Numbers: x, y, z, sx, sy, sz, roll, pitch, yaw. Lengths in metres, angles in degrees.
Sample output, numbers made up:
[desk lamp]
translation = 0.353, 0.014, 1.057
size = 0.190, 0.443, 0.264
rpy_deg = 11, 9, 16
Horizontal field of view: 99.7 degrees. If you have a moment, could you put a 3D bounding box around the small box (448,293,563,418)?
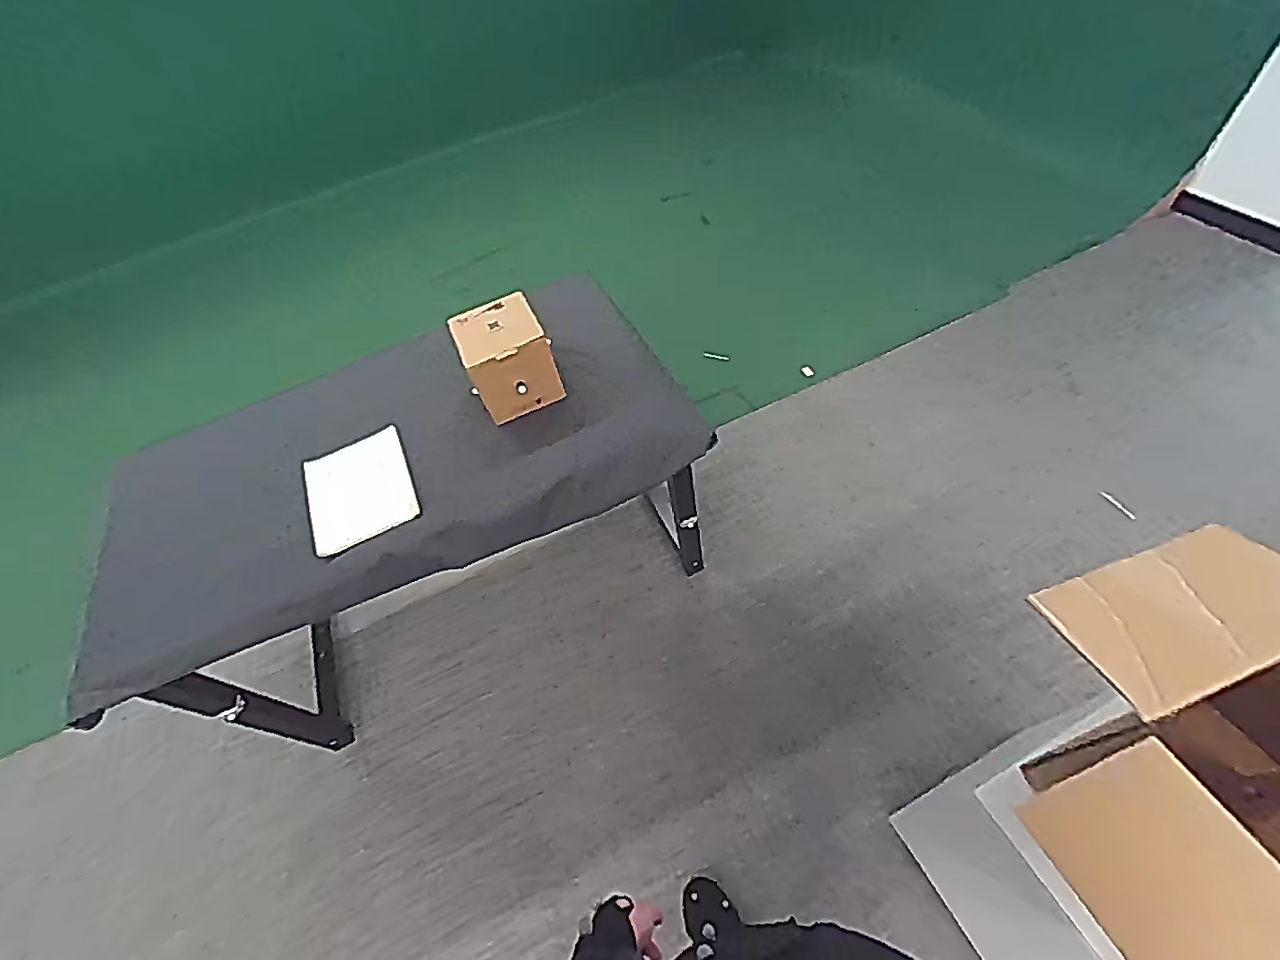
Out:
[small box]
translation = -0.278, -0.253, 1.141
size = 0.168, 0.176, 0.179
rpy_deg = -24, 56, -8
